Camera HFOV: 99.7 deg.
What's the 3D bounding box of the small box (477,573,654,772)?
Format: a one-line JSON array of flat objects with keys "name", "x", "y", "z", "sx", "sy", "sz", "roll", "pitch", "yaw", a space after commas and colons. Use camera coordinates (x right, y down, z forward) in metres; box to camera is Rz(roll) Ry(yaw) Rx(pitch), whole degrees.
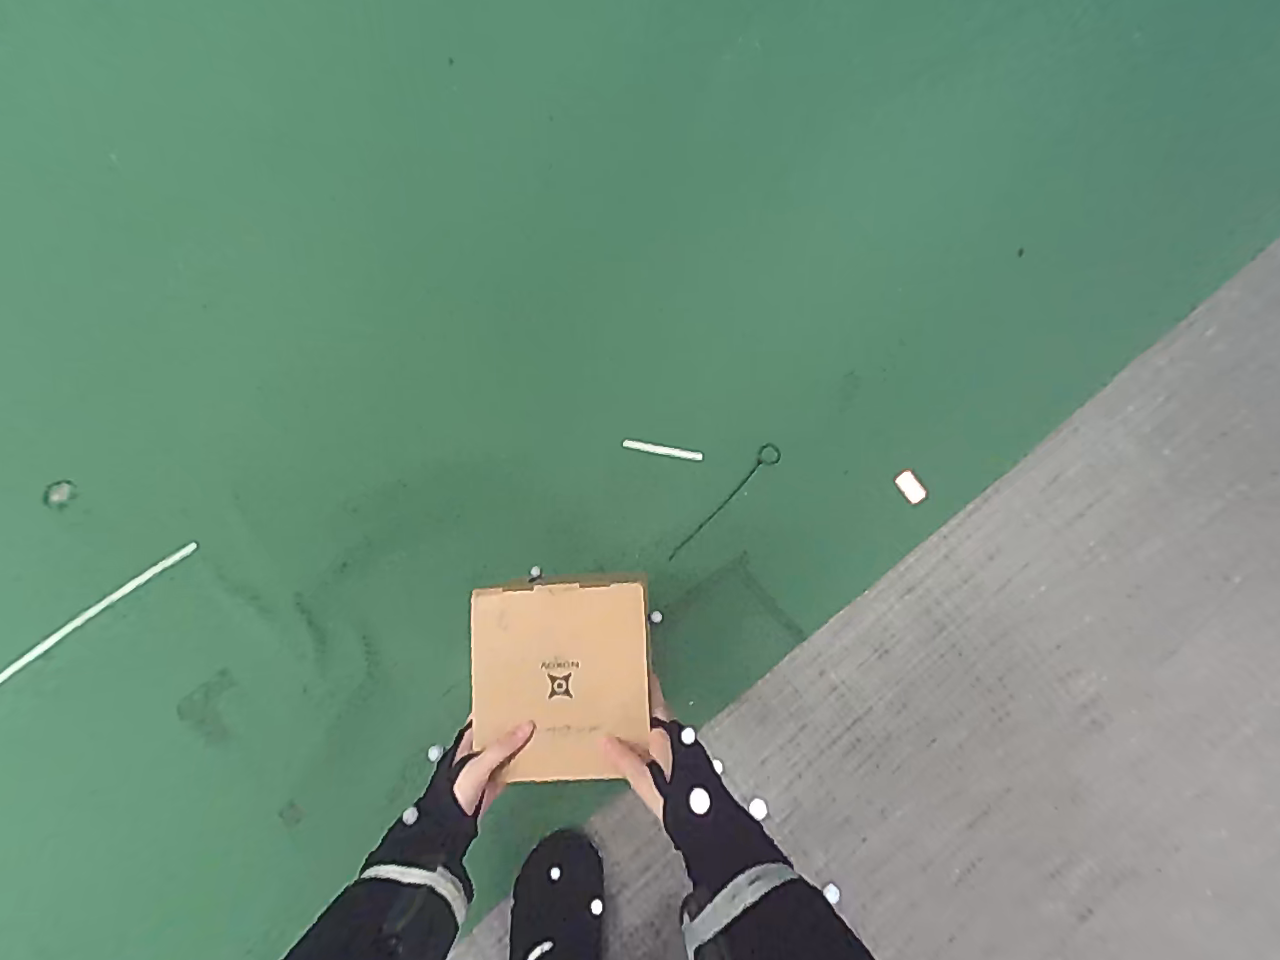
[{"name": "small box", "x": -0.071, "y": 0.193, "z": 0.590, "sx": 0.168, "sy": 0.176, "sz": 0.179, "roll": -3, "pitch": 84, "yaw": 2}]
